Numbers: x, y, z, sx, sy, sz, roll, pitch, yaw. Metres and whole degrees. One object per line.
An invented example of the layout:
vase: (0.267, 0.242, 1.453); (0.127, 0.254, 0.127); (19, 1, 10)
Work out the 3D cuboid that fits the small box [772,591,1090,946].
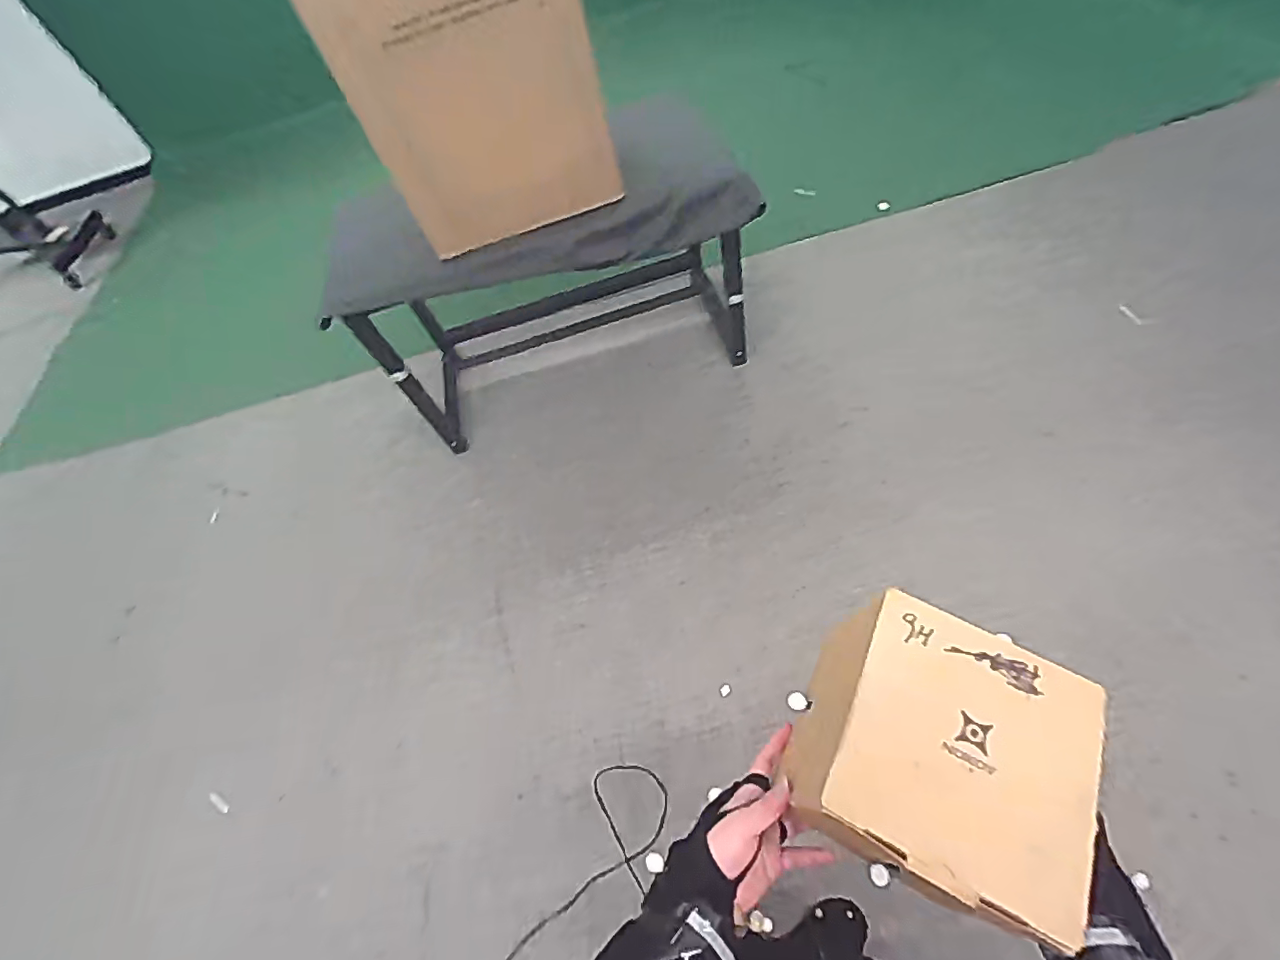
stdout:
small box: (0.225, 0.228, 0.456); (0.168, 0.176, 0.179); (25, 64, 12)
